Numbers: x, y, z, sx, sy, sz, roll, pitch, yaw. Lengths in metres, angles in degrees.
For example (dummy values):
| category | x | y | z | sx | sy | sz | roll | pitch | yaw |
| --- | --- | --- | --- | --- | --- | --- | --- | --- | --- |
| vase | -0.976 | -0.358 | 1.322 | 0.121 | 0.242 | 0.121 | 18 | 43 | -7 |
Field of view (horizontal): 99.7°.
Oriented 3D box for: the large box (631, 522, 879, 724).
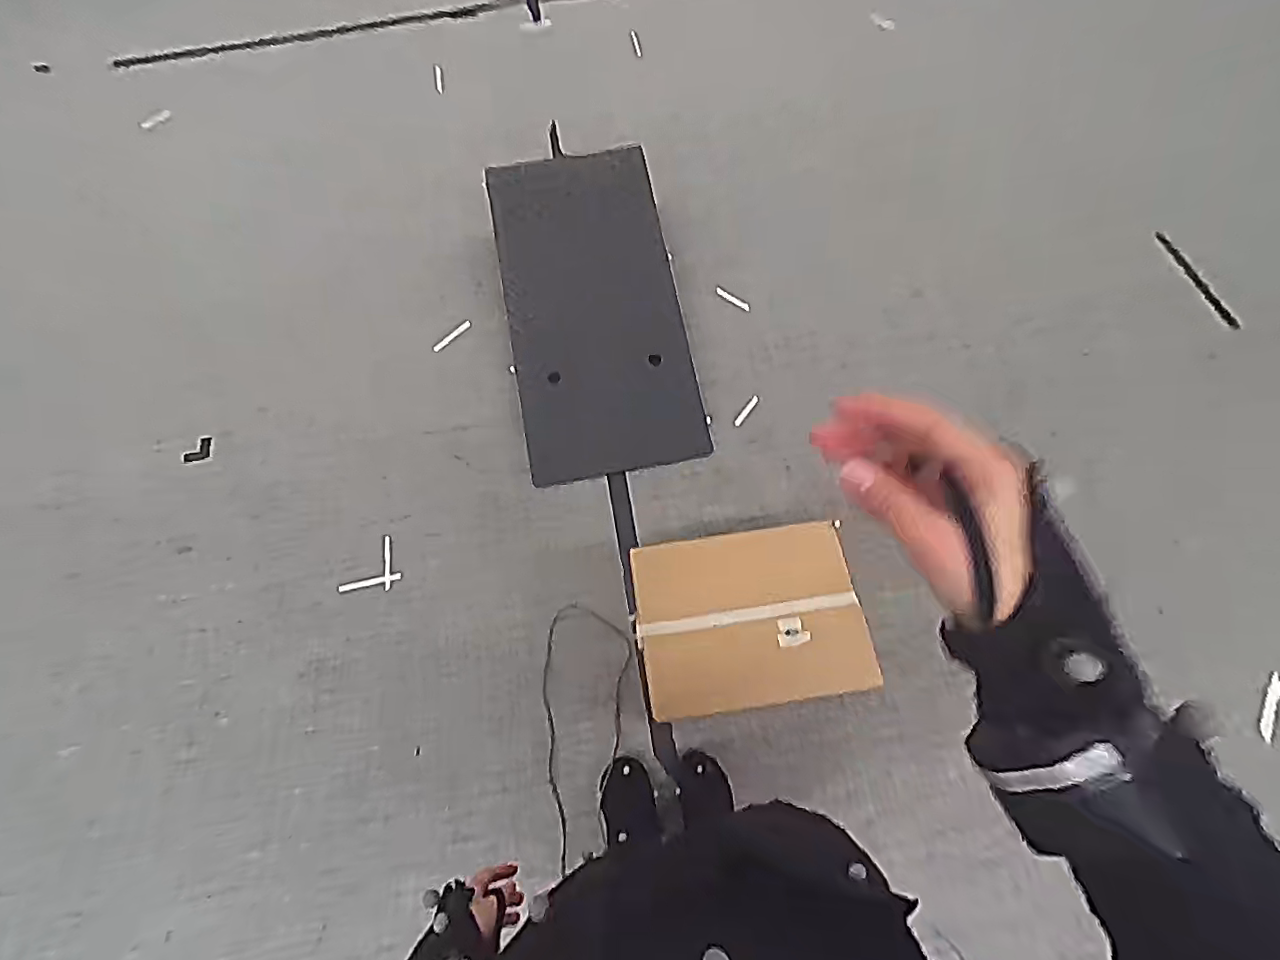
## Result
| category | x | y | z | sx | sy | sz | roll | pitch | yaw |
| --- | --- | --- | --- | --- | --- | --- | --- | --- | --- |
| large box | 0.204 | 0.310 | 1.129 | 0.408 | 0.320 | 0.320 | -8 | 66 | -3 |

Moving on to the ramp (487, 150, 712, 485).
| category | x | y | z | sx | sy | sz | roll | pitch | yaw |
| --- | --- | --- | --- | --- | --- | --- | --- | --- | --- |
| ramp | -0.133 | -0.504 | 1.560 | 0.509 | 0.206 | 0.991 | -12 | 67 | -4 |
